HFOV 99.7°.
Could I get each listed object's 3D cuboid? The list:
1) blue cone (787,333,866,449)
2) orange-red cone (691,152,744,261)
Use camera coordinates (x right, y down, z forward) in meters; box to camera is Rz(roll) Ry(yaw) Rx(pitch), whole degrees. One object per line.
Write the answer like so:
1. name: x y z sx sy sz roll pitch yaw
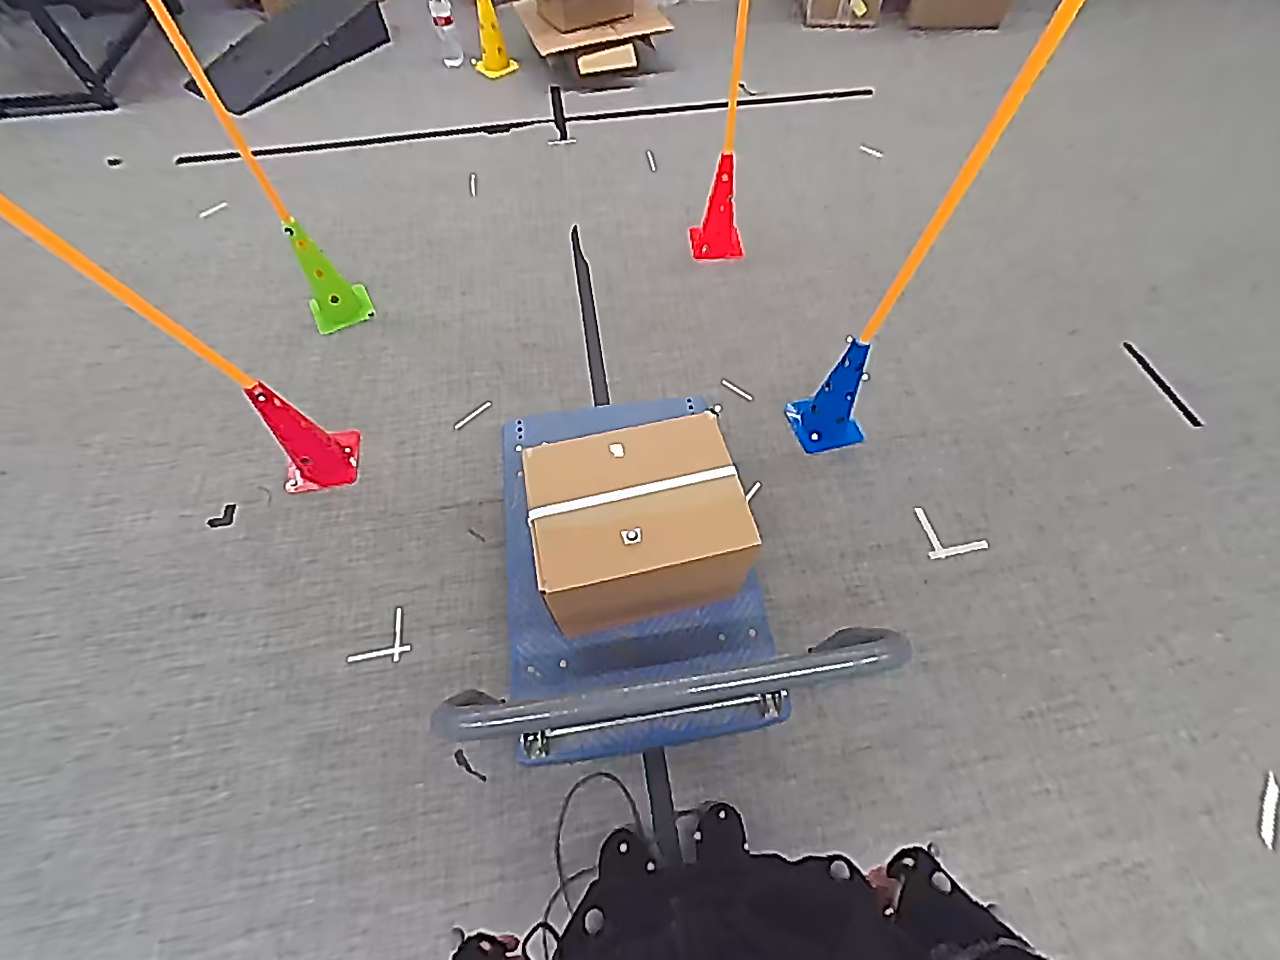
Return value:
1. blue cone: 0.581 -0.269 1.575 0.193 0.380 0.192 -12 59 -7
2. orange-red cone: 0.308 -1.025 2.002 0.199 0.360 0.198 -2 60 -2
